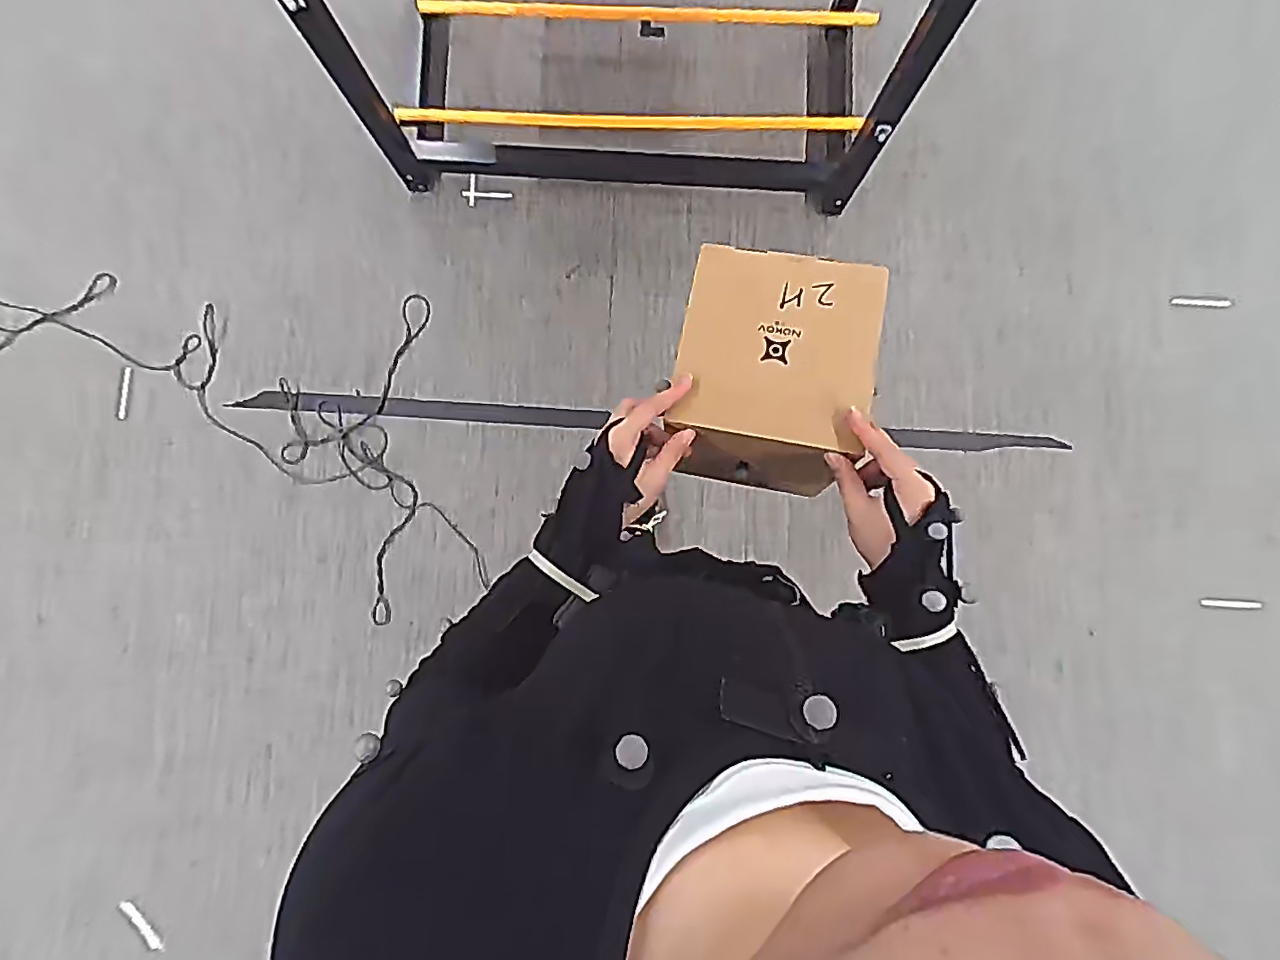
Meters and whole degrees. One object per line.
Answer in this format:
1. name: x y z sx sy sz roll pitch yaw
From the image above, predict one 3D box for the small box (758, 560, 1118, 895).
1. small box: 0.216 0.177 0.426 0.176 0.168 0.179 1 107 -32
